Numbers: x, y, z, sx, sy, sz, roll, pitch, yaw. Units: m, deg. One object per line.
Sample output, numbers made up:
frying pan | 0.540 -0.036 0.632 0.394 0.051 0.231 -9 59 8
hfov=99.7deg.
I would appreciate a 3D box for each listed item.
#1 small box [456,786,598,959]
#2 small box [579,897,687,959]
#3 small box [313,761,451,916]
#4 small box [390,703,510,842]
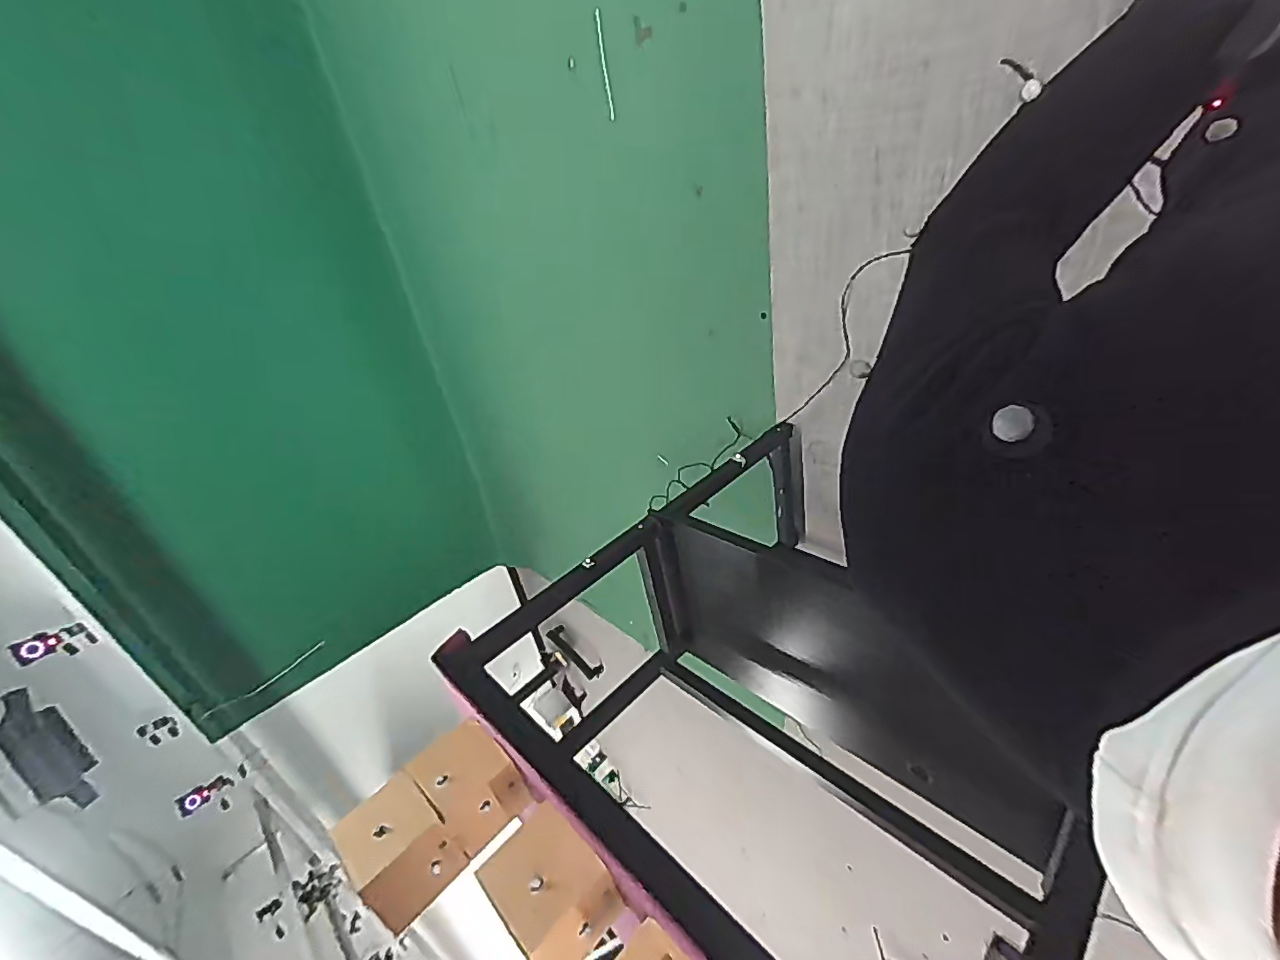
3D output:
small box | -0.192 0.704 0.977 0.179 0.176 0.168 21 134 40
small box | 0.000 0.778 0.799 0.168 0.176 0.179 15 131 45
small box | -0.517 0.711 1.097 0.179 0.176 0.168 16 131 42
small box | -0.406 0.633 1.189 0.179 0.176 0.168 24 136 39
